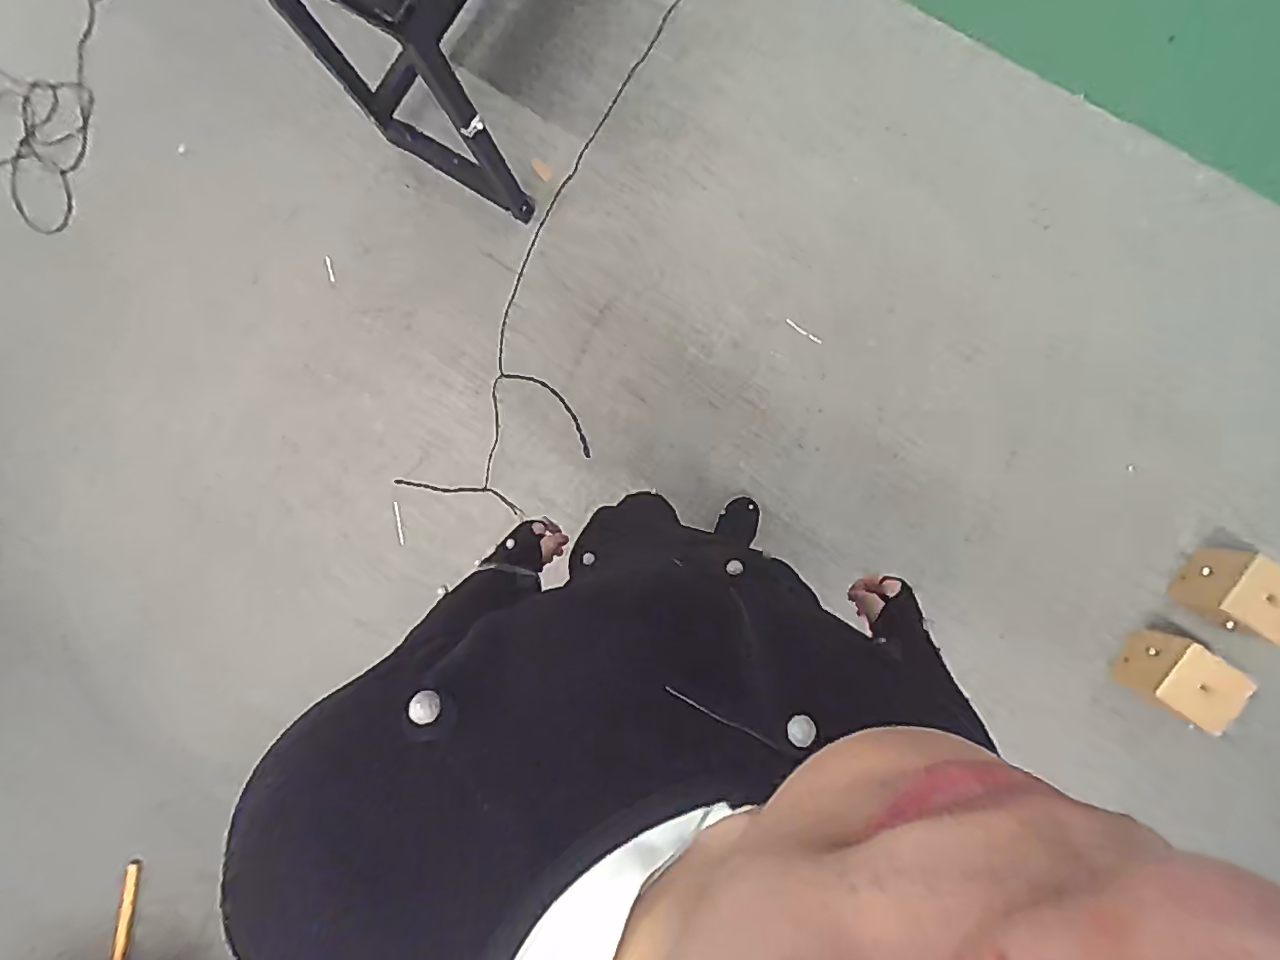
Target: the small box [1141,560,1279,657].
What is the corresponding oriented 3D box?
[{"bbox_3d":[1.494,0.326,1.417,0.179,0.176,0.168,37,92,4],"label":"small box"}]
